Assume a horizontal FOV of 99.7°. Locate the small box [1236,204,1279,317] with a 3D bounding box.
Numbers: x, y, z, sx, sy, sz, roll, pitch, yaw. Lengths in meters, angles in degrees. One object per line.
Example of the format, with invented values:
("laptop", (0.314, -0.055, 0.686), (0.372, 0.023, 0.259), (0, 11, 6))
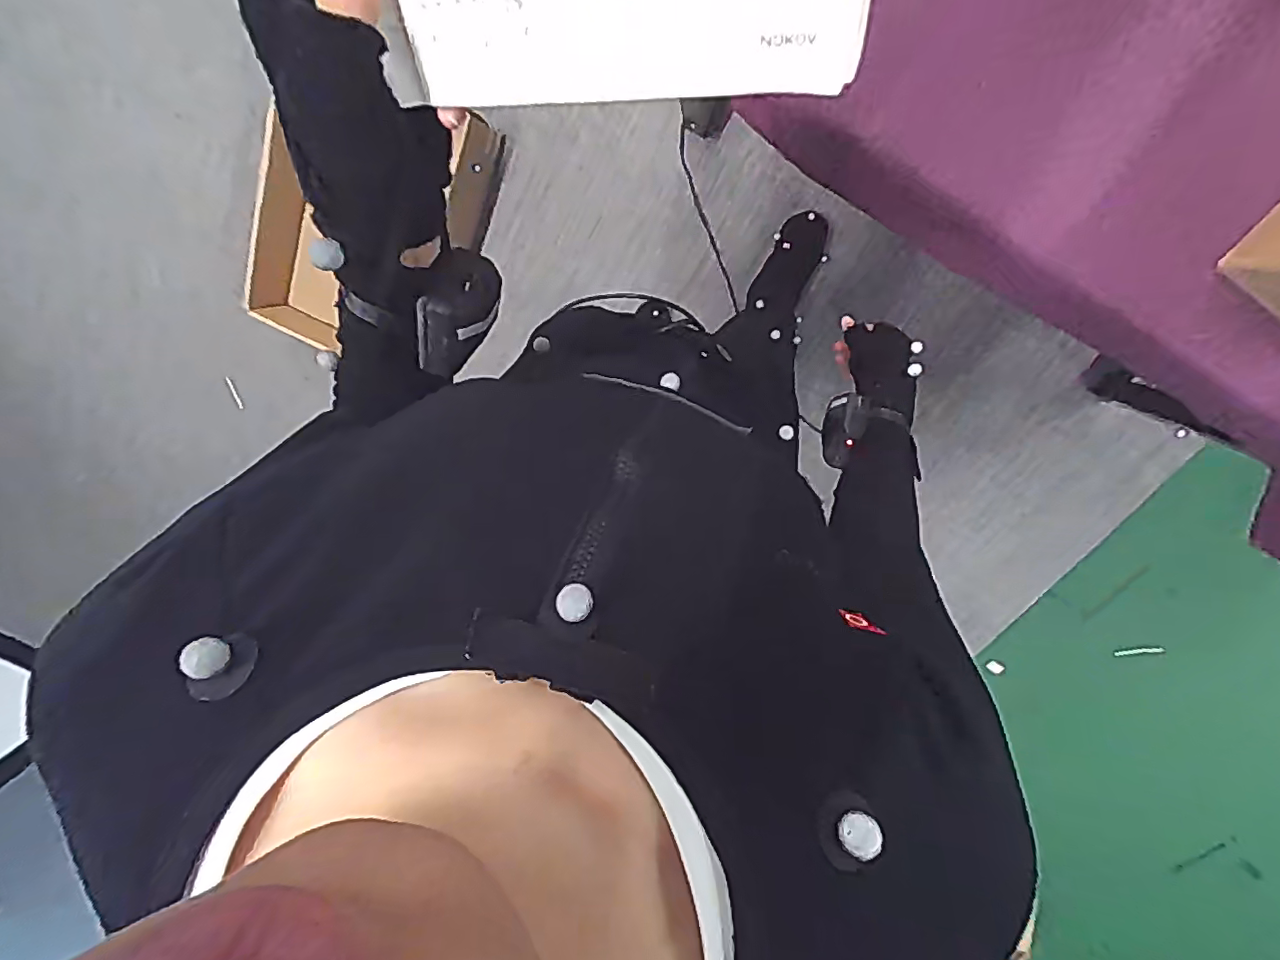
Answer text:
("small box", (0.697, -0.208, 0.466), (0.168, 0.176, 0.179), (33, 113, -7))
